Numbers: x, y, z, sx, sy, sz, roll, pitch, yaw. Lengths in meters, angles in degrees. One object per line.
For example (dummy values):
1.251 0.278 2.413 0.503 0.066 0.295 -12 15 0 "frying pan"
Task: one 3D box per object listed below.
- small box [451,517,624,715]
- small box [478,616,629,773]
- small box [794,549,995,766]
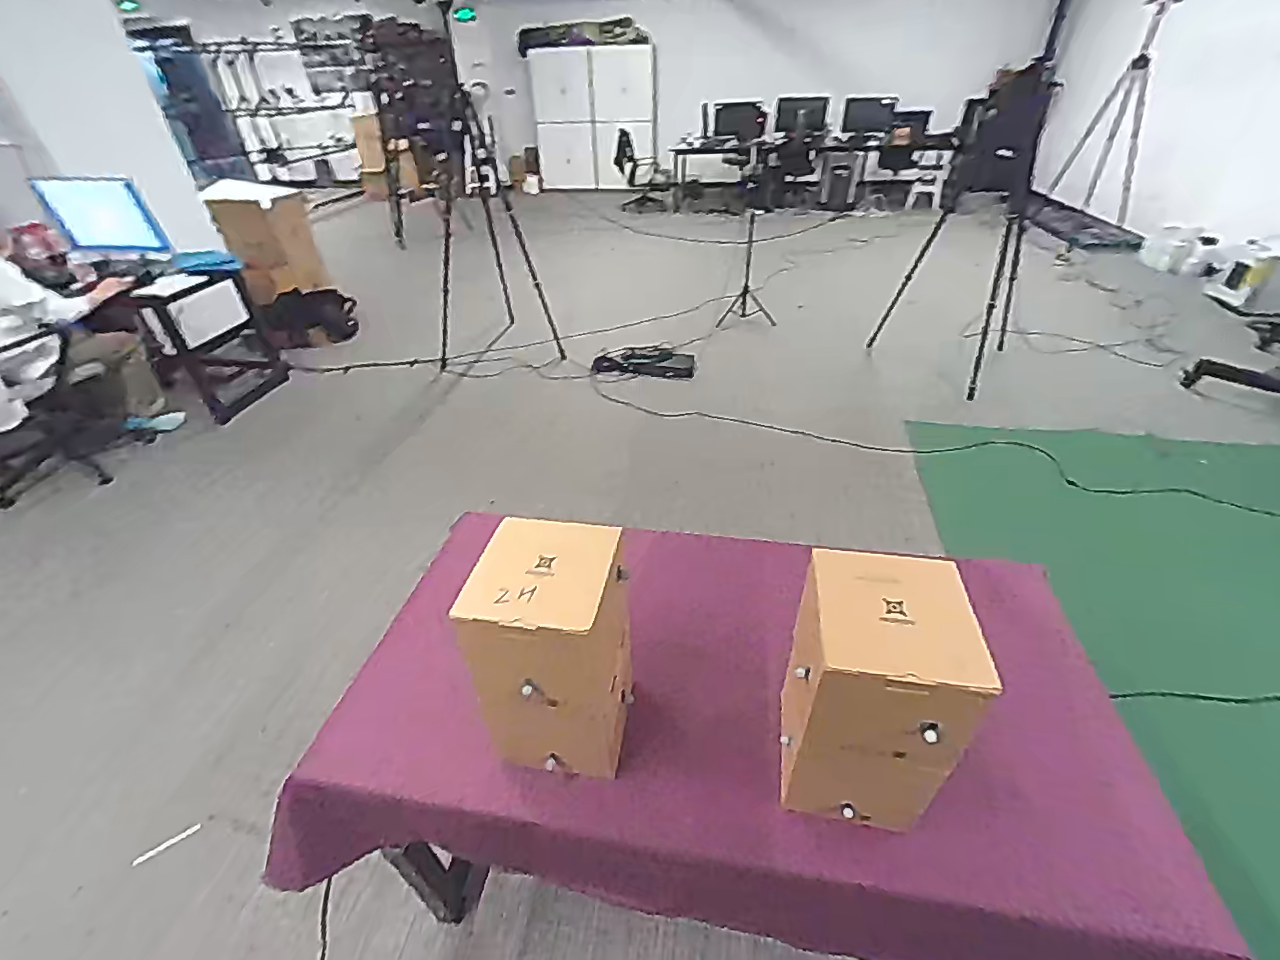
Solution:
-0.117 0.173 0.705 0.168 0.176 0.179 4 38 9 "small box"
-0.113 0.308 0.801 0.179 0.176 0.168 4 37 7 "small box"
0.279 0.208 0.642 0.168 0.176 0.179 5 38 9 "small box"
